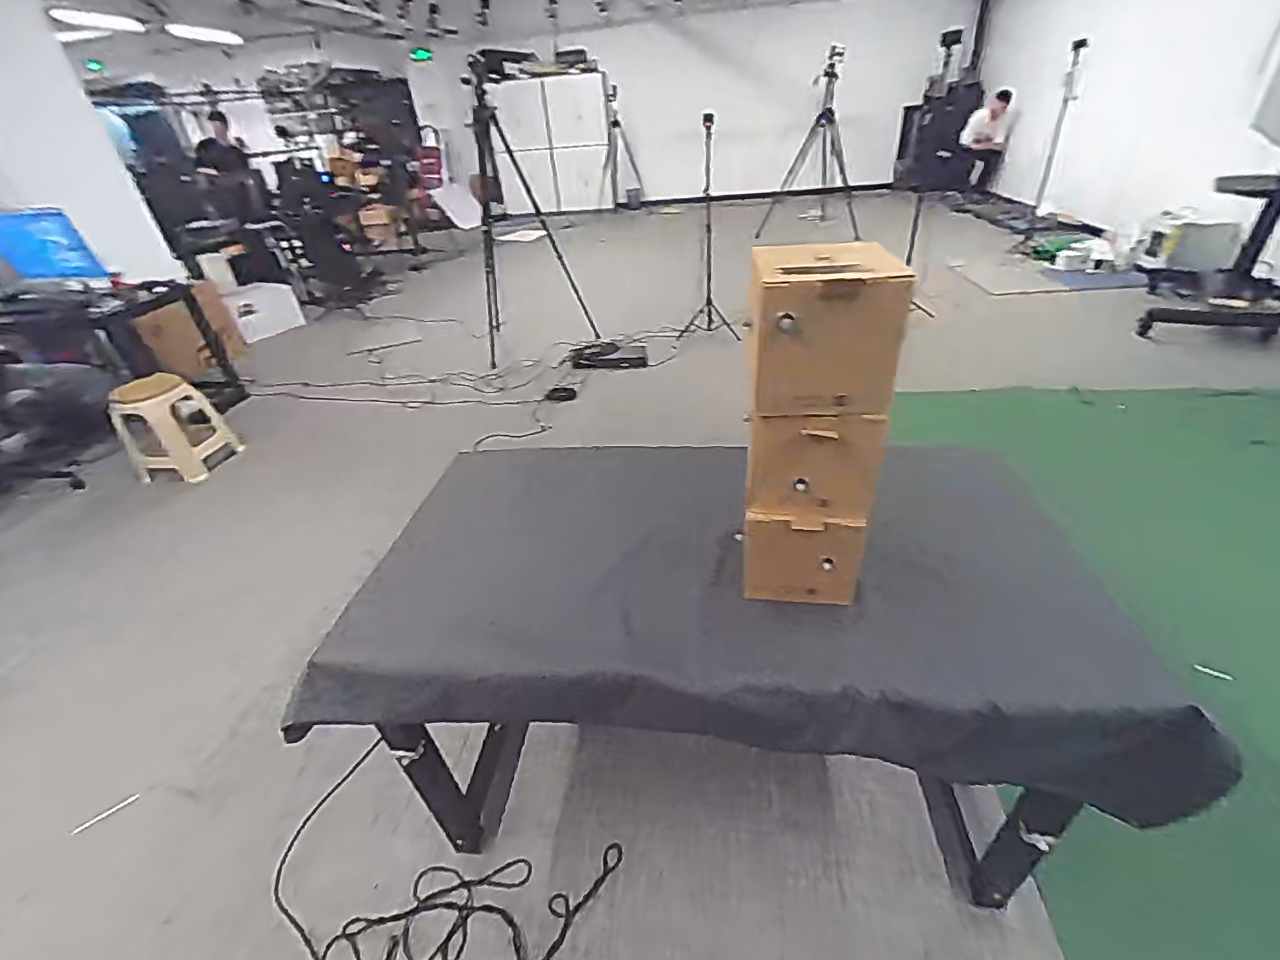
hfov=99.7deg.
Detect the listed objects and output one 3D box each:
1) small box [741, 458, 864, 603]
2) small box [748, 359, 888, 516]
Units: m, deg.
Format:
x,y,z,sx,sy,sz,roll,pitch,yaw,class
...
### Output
x,y,z,sx,sy,sz,roll,pitch,yaw,class
0.252,0.078,0.874,0.168,0.176,0.179,2,34,10,small box
0.247,-0.065,0.795,0.168,0.176,0.179,3,36,10,small box
